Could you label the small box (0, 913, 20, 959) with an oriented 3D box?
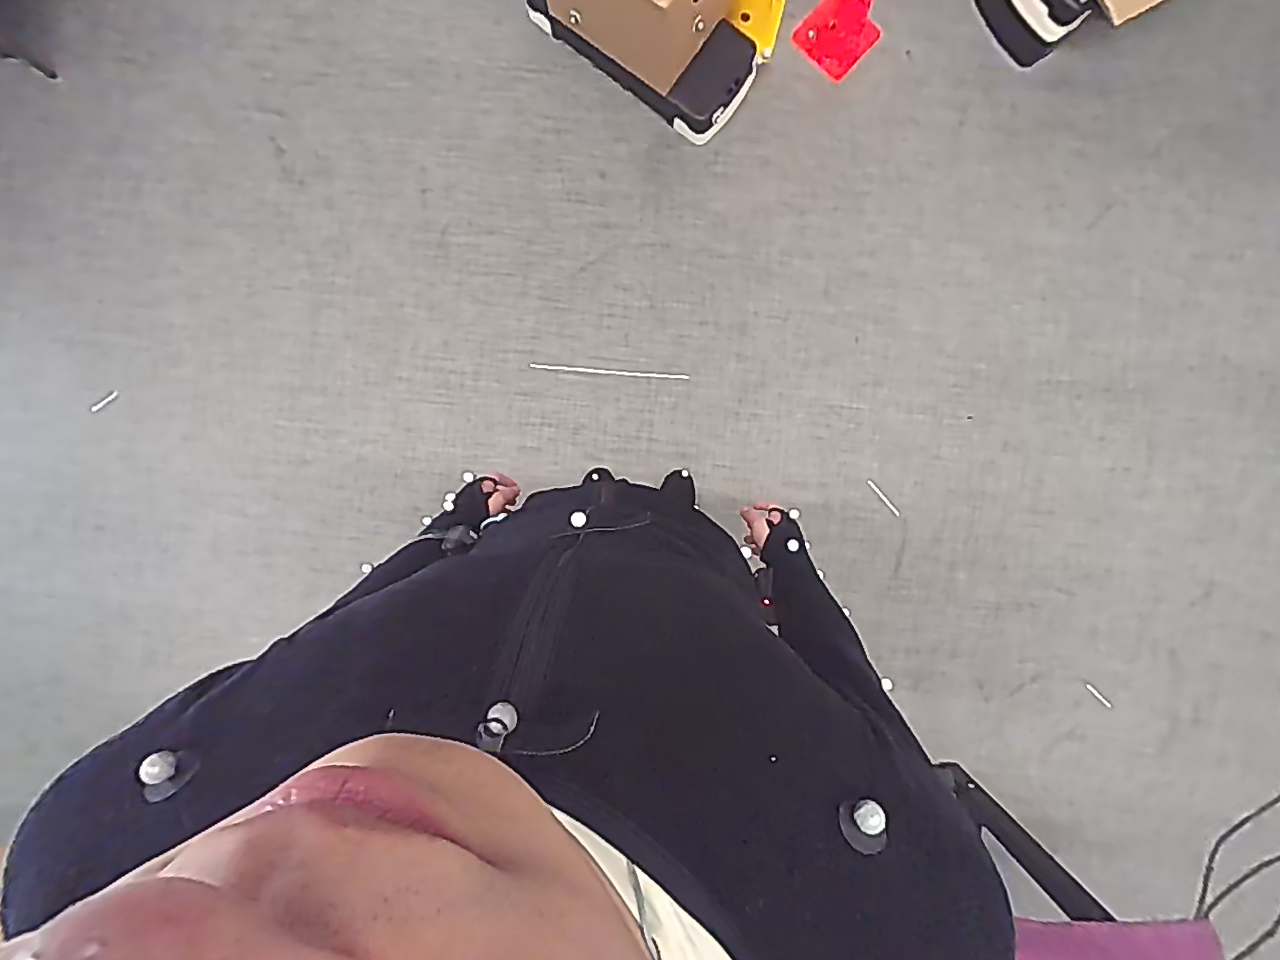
[{"bbox_3d":[-1.562,1.097,1.198,0.179,0.176,0.168,7,90,0],"label":"small box"}]
